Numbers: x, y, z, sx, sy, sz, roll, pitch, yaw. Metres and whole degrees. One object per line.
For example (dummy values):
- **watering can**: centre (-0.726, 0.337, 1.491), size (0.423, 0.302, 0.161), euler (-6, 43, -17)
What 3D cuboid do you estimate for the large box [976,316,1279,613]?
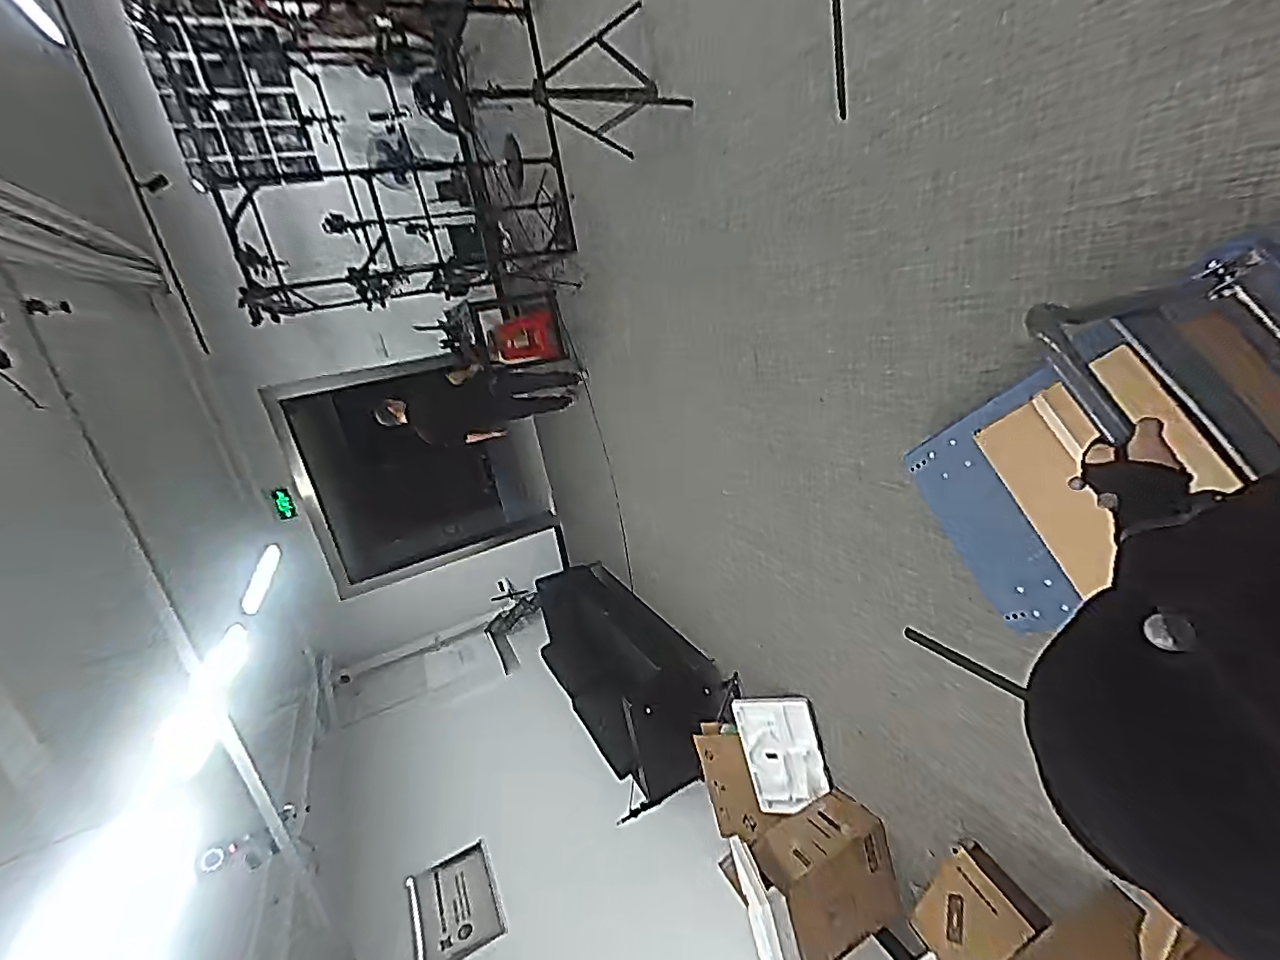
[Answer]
- **large box**: centre (0.944, -0.024, 0.984), size (0.408, 0.320, 0.320), euler (66, 157, 17)
